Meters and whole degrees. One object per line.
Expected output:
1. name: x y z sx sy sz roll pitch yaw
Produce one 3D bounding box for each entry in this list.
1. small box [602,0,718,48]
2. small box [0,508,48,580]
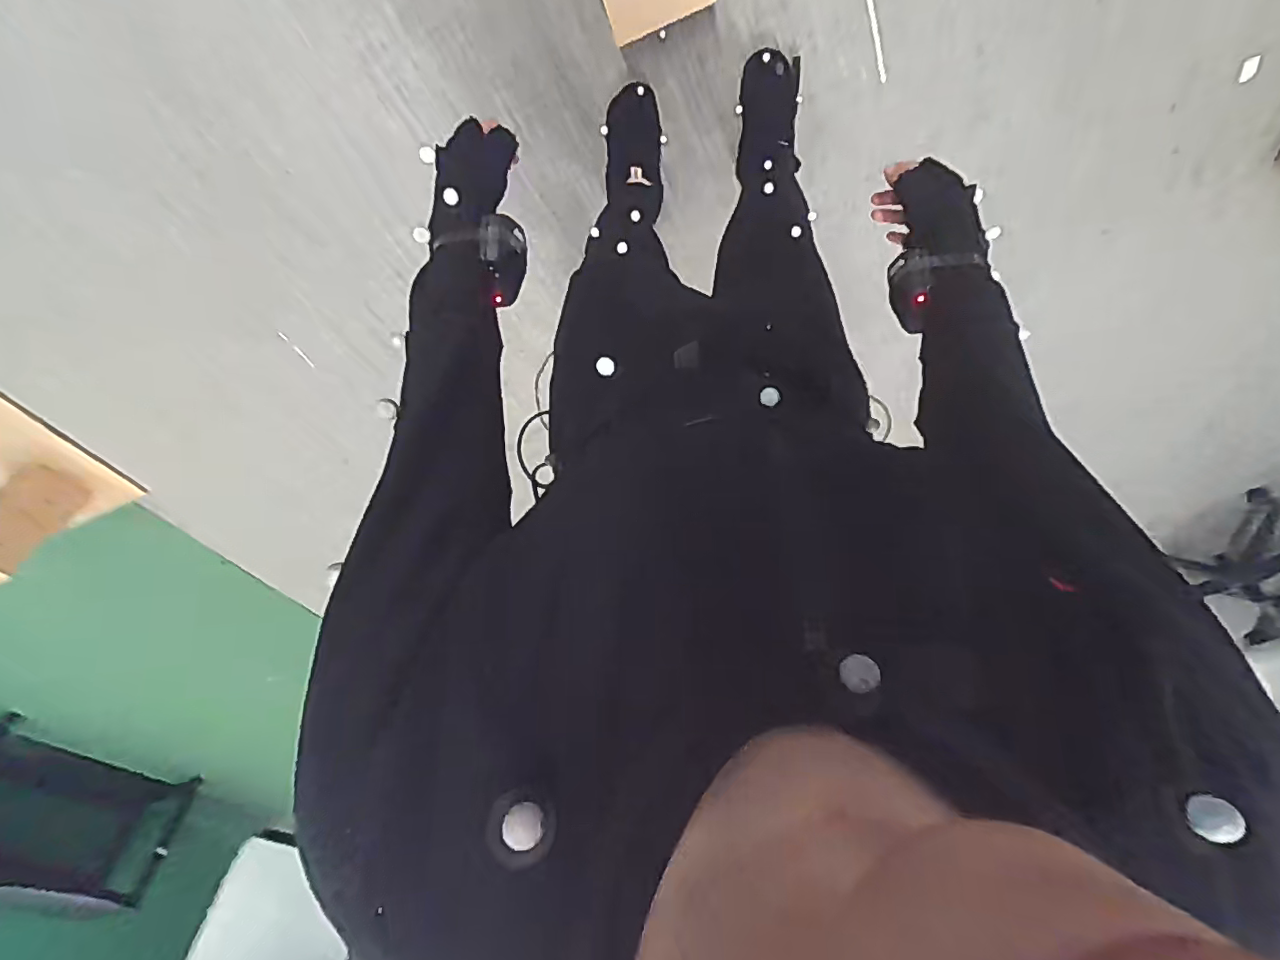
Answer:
1. small box: 0.019 -0.841 0.881 0.179 0.176 0.168 -14 132 14
2. small box: -1.967 0.194 1.614 0.168 0.176 0.179 -15 134 14
